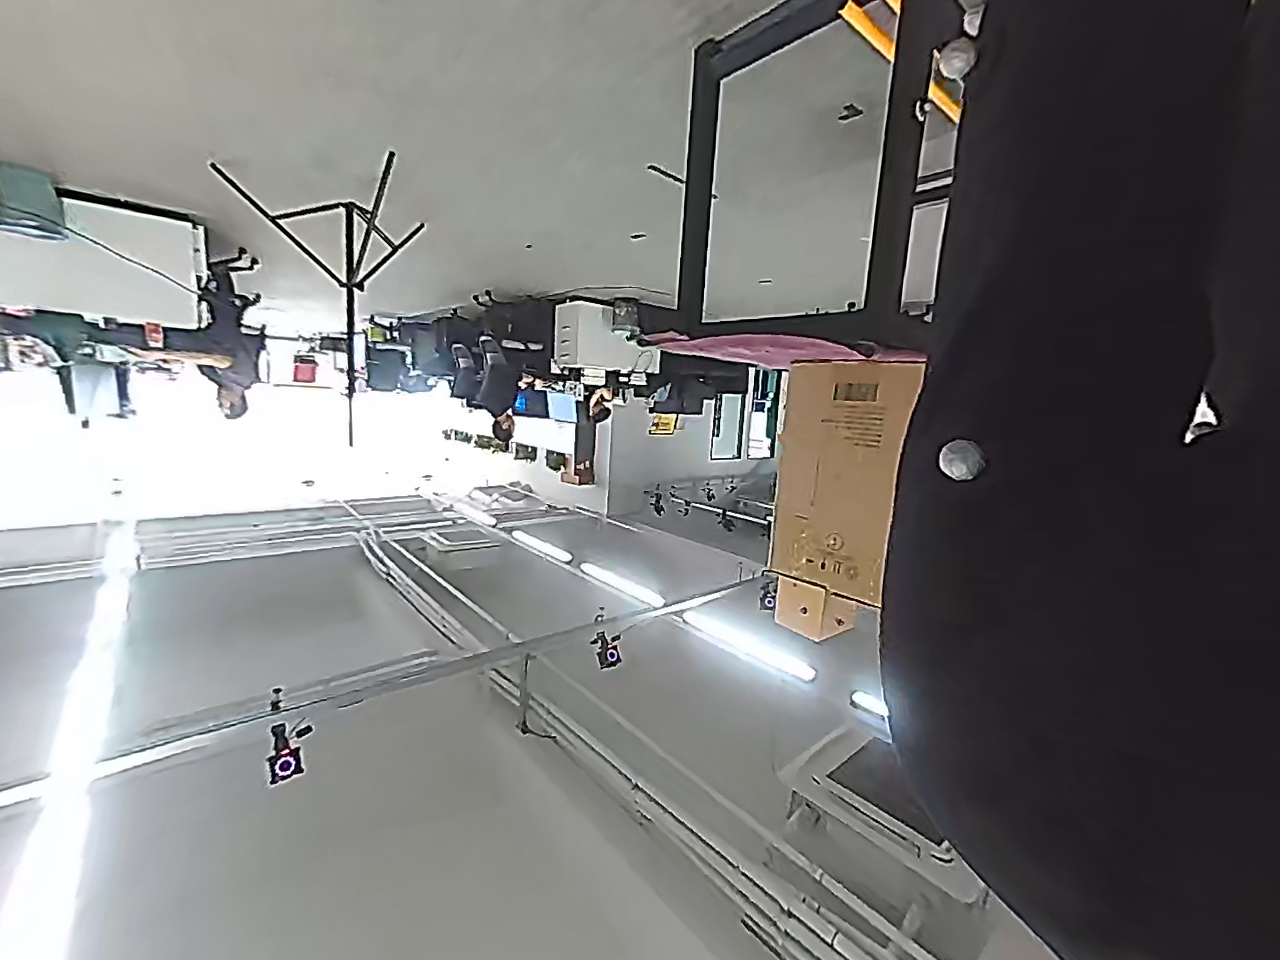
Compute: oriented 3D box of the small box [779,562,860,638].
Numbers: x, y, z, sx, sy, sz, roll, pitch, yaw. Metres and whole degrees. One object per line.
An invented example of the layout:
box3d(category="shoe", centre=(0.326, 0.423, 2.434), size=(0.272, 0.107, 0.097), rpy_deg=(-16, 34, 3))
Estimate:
box3d(category="small box", centre=(0.546, 0.355, 1.643), size=(0.179, 0.176, 0.168), rpy_deg=(-6, -167, -36))
